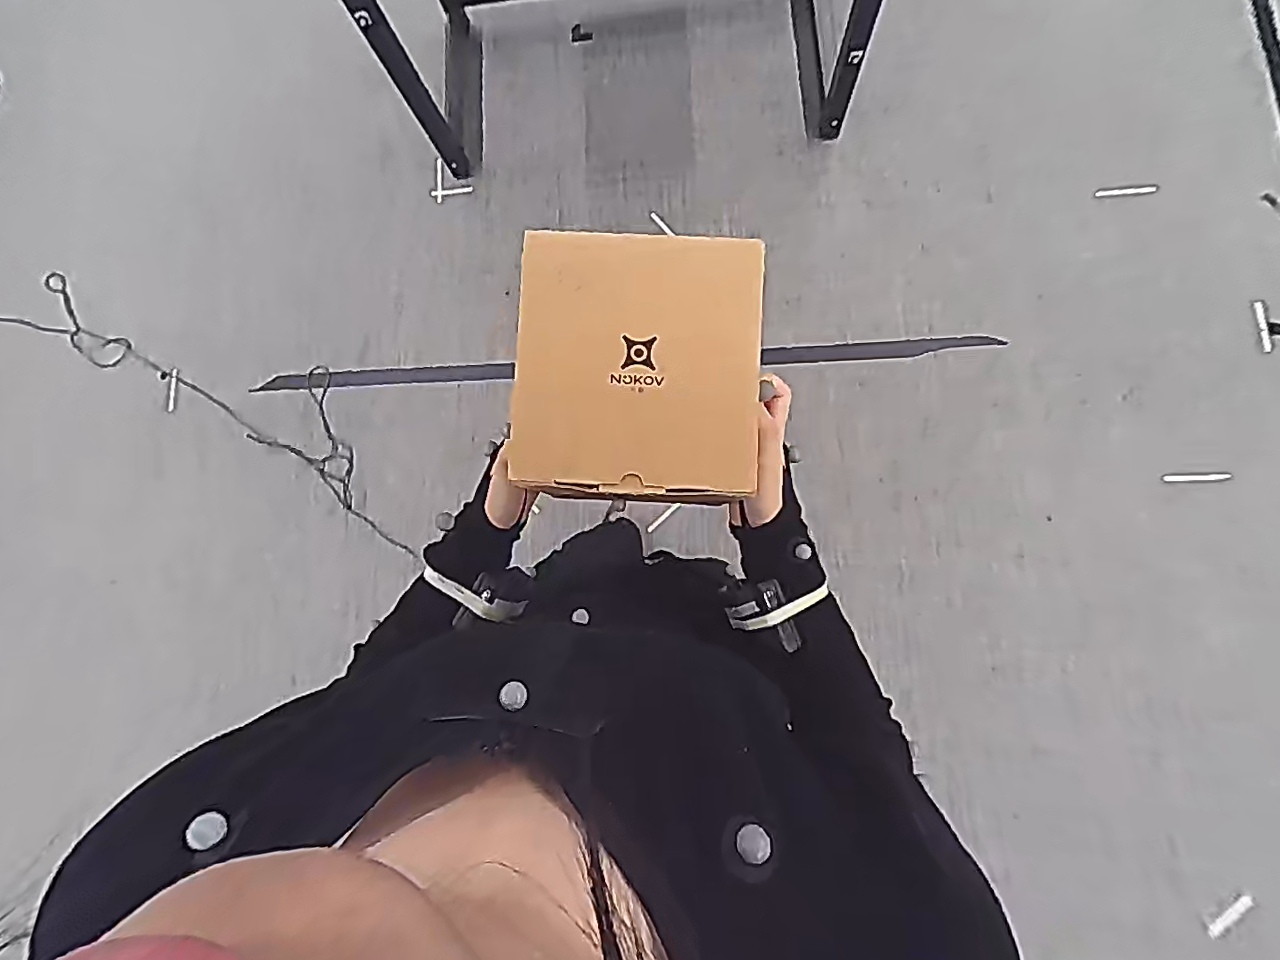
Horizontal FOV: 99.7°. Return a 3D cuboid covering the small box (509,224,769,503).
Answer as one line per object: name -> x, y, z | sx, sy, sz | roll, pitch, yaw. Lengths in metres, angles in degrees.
small box -> 0.001, -0.076, 0.435 | 0.168, 0.176, 0.179 | 3, 86, 1
